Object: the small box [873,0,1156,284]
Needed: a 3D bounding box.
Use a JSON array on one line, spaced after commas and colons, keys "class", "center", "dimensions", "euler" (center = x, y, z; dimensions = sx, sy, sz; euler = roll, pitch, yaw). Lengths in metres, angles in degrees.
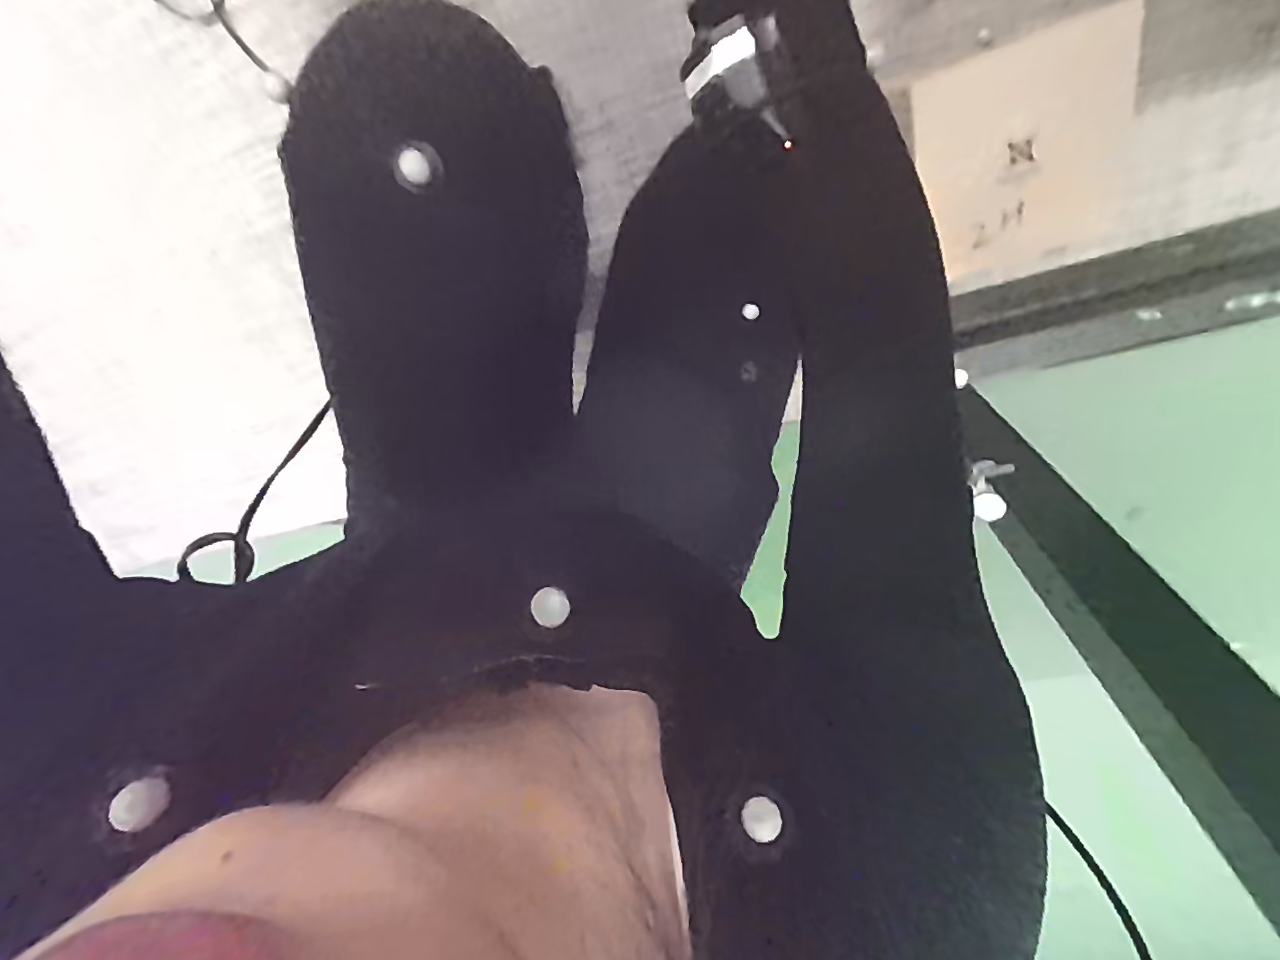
[{"class": "small box", "center": [0.337, -0.318, 0.525], "dimensions": [0.168, 0.176, 0.179], "euler": [-13, 122, 15]}]
